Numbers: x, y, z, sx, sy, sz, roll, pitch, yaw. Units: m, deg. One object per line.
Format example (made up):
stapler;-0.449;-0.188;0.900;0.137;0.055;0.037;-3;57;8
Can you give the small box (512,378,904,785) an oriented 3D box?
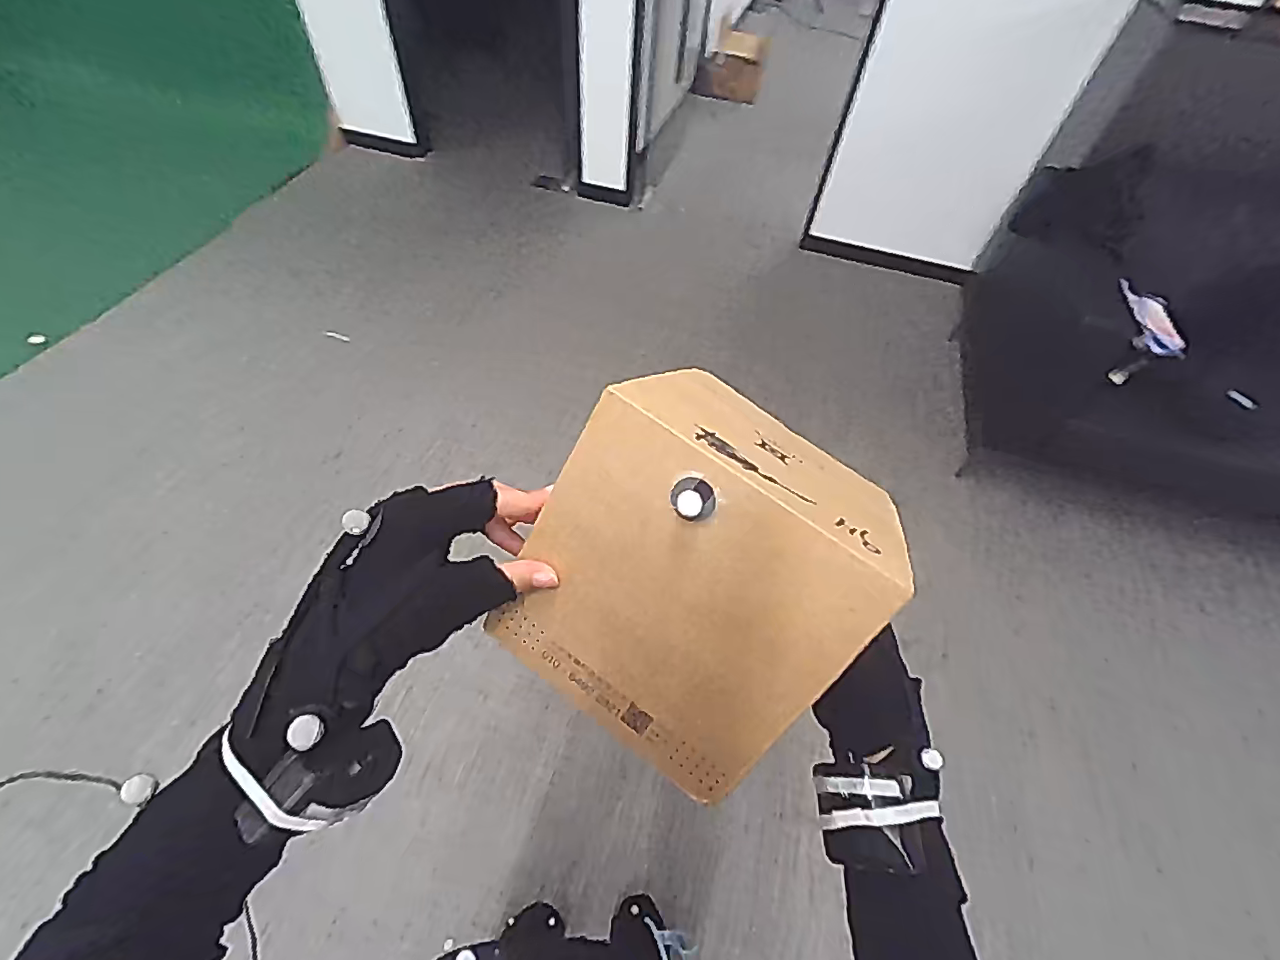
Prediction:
small box;0.043;0.048;0.361;0.168;0.176;0.179;33;21;11
